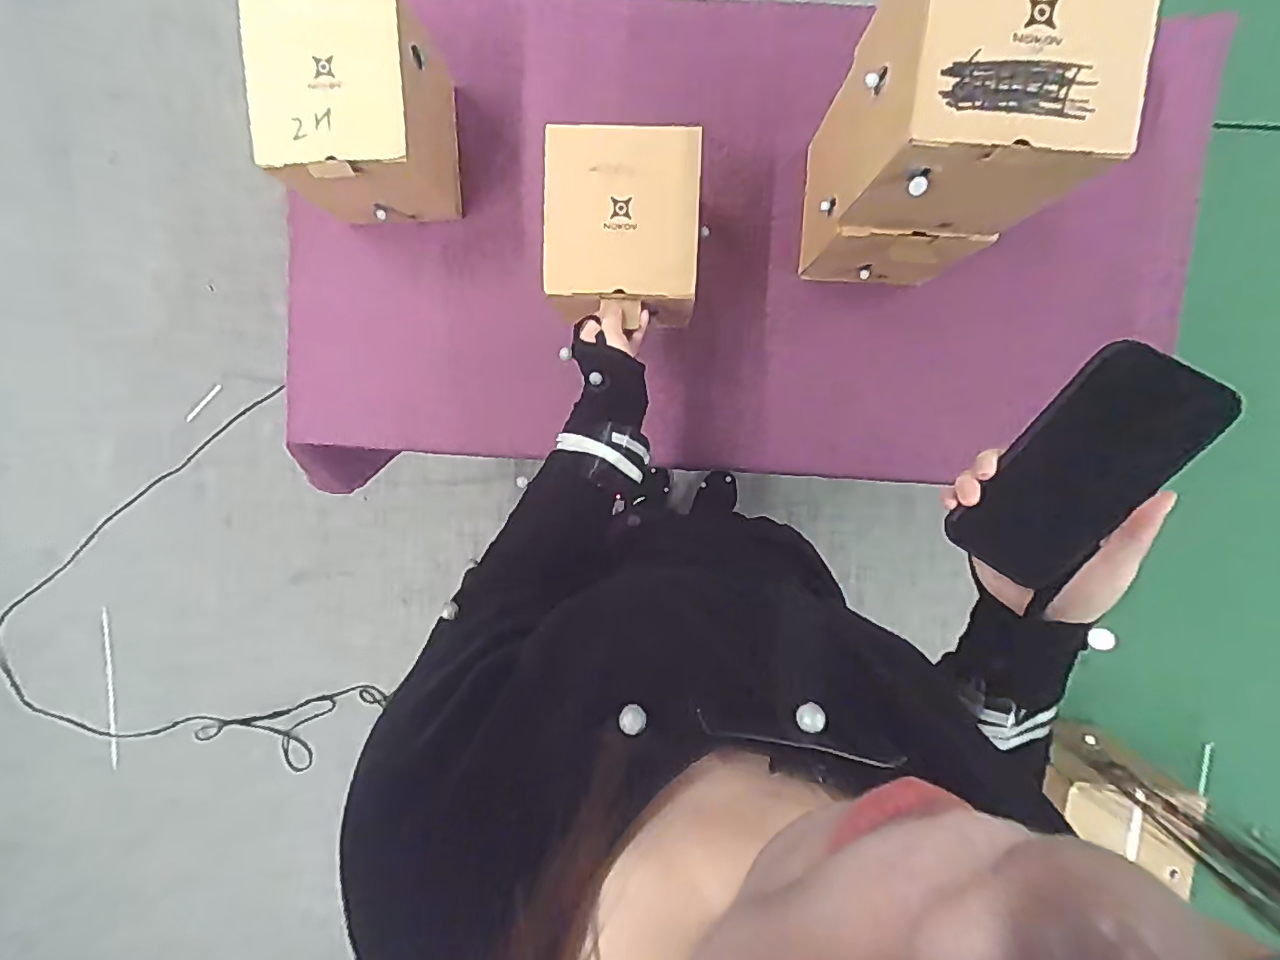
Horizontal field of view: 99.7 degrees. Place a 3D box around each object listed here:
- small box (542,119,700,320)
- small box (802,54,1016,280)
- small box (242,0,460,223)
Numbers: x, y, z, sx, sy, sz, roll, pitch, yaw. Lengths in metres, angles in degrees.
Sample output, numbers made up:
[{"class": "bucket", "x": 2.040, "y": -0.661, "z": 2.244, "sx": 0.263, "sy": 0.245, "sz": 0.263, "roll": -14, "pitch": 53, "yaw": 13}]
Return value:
[{"class": "small box", "x": -0.019, "y": -0.295, "z": 0.648, "sx": 0.168, "sy": 0.176, "sz": 0.179, "roll": 2, "pitch": 95, "yaw": 1}, {"class": "small box", "x": 0.296, "y": -0.349, "z": 0.633, "sx": 0.168, "sy": 0.176, "sz": 0.179, "roll": 3, "pitch": 96, "yaw": 2}, {"class": "small box", "x": -0.326, "y": -0.428, "z": 0.642, "sx": 0.168, "sy": 0.176, "sz": 0.179, "roll": -2, "pitch": 96, "yaw": 2}]
